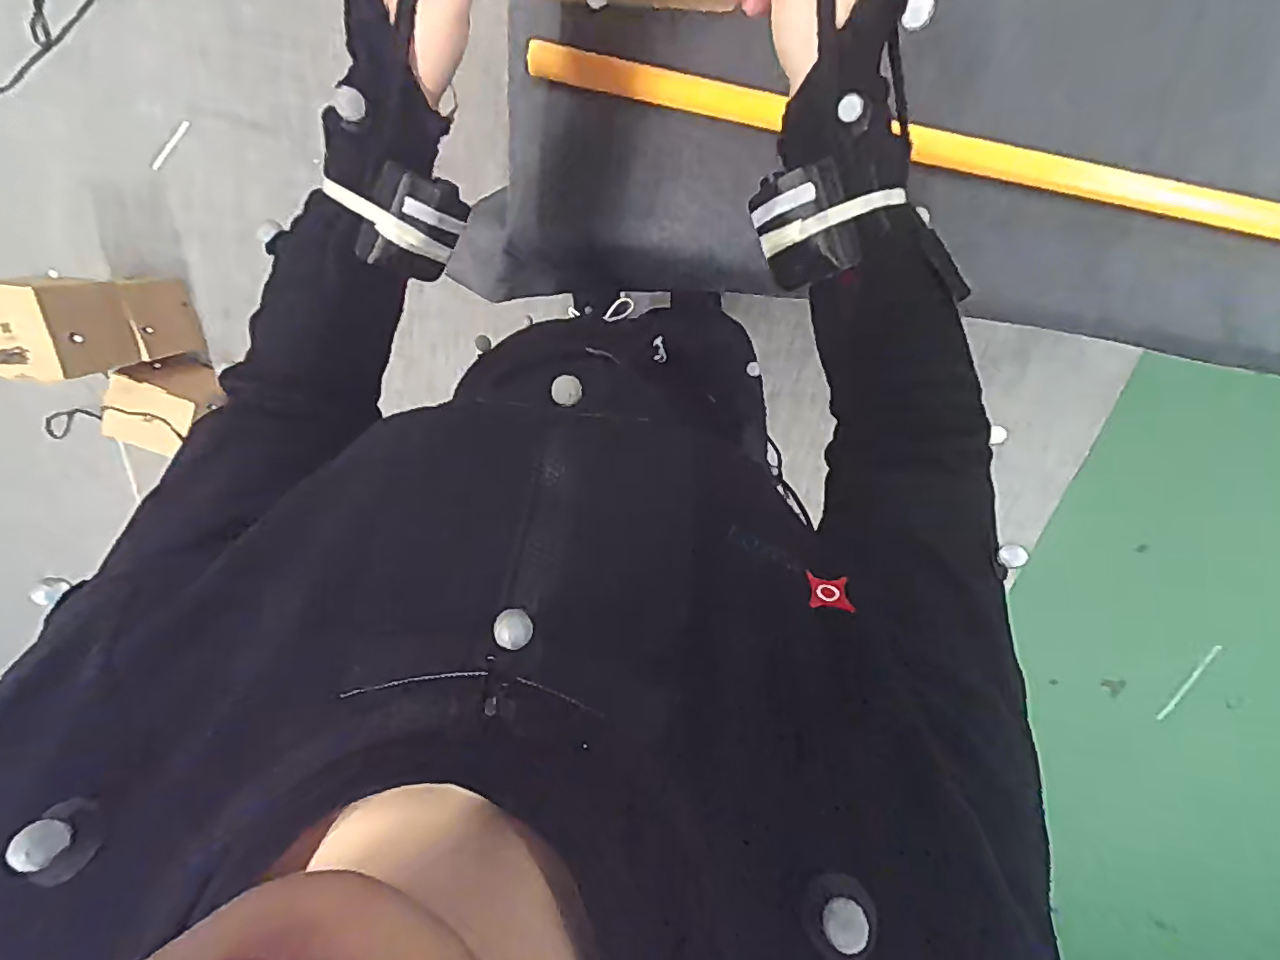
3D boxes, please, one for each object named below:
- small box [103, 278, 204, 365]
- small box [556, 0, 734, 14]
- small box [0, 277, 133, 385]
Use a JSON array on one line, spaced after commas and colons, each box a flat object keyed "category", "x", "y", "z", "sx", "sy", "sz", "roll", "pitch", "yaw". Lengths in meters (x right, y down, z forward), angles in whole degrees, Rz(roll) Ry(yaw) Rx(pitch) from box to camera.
[{"category": "small box", "x": -1.168, "y": -0.365, "z": 1.239, "sx": 0.179, "sy": 0.176, "sz": 0.168, "roll": -2, "pitch": 118, "yaw": 5}, {"category": "small box", "x": -0.003, "y": -0.401, "z": 0.314, "sx": 0.168, "sy": 0.176, "sz": 0.179, "roll": 1, "pitch": 121, "yaw": -2}, {"category": "small box", "x": -1.184, "y": -0.302, "z": 1.083, "sx": 0.168, "sy": 0.176, "sz": 0.179, "roll": 5, "pitch": 114, "yaw": 0}]
